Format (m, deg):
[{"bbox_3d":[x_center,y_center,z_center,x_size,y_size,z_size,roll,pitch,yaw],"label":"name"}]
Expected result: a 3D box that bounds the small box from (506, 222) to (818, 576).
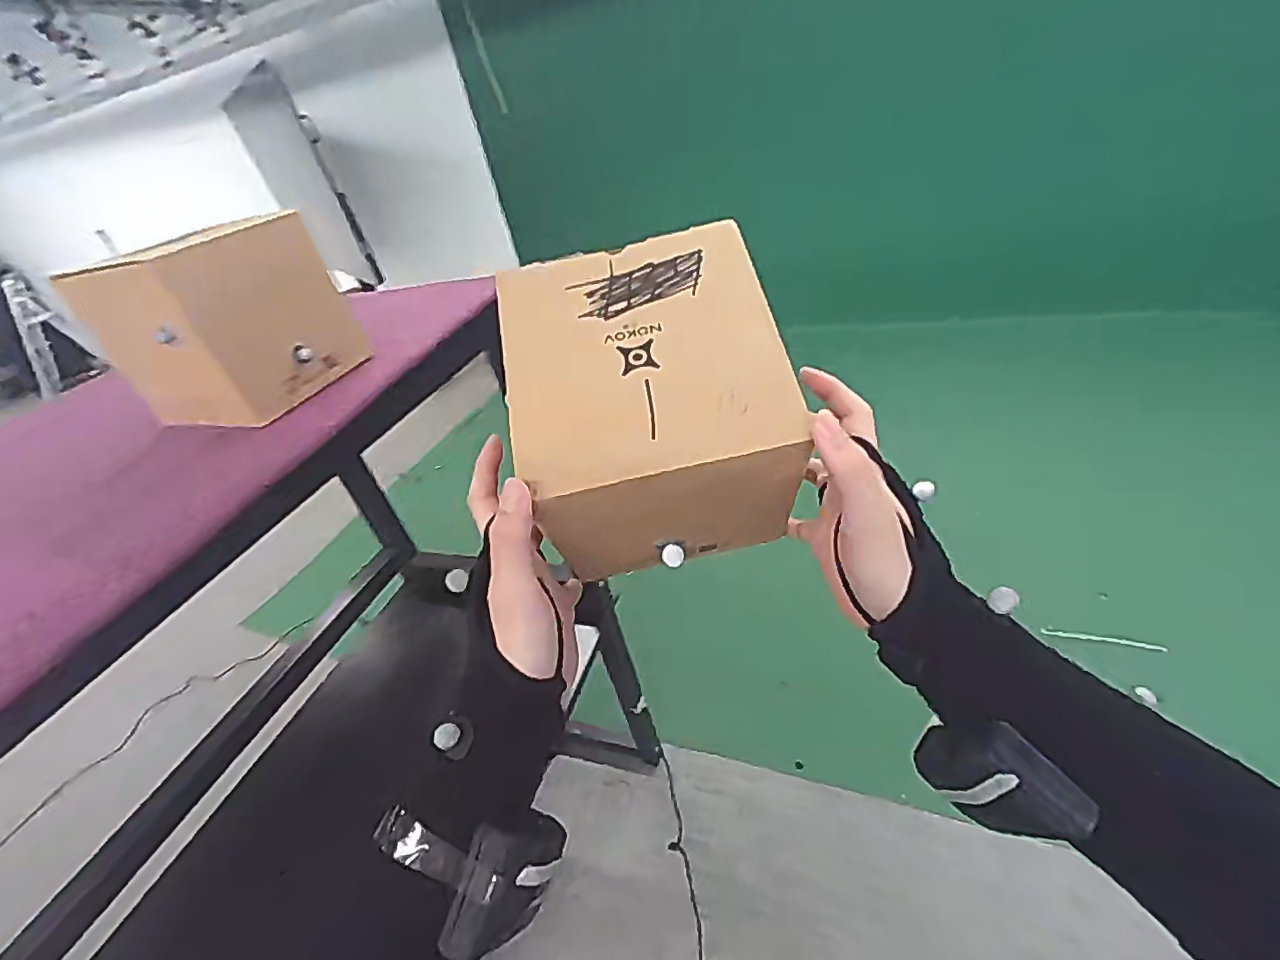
[{"bbox_3d":[0.011,-0.047,0.396,0.168,0.176,0.179,-12,64,2],"label":"small box"}]
